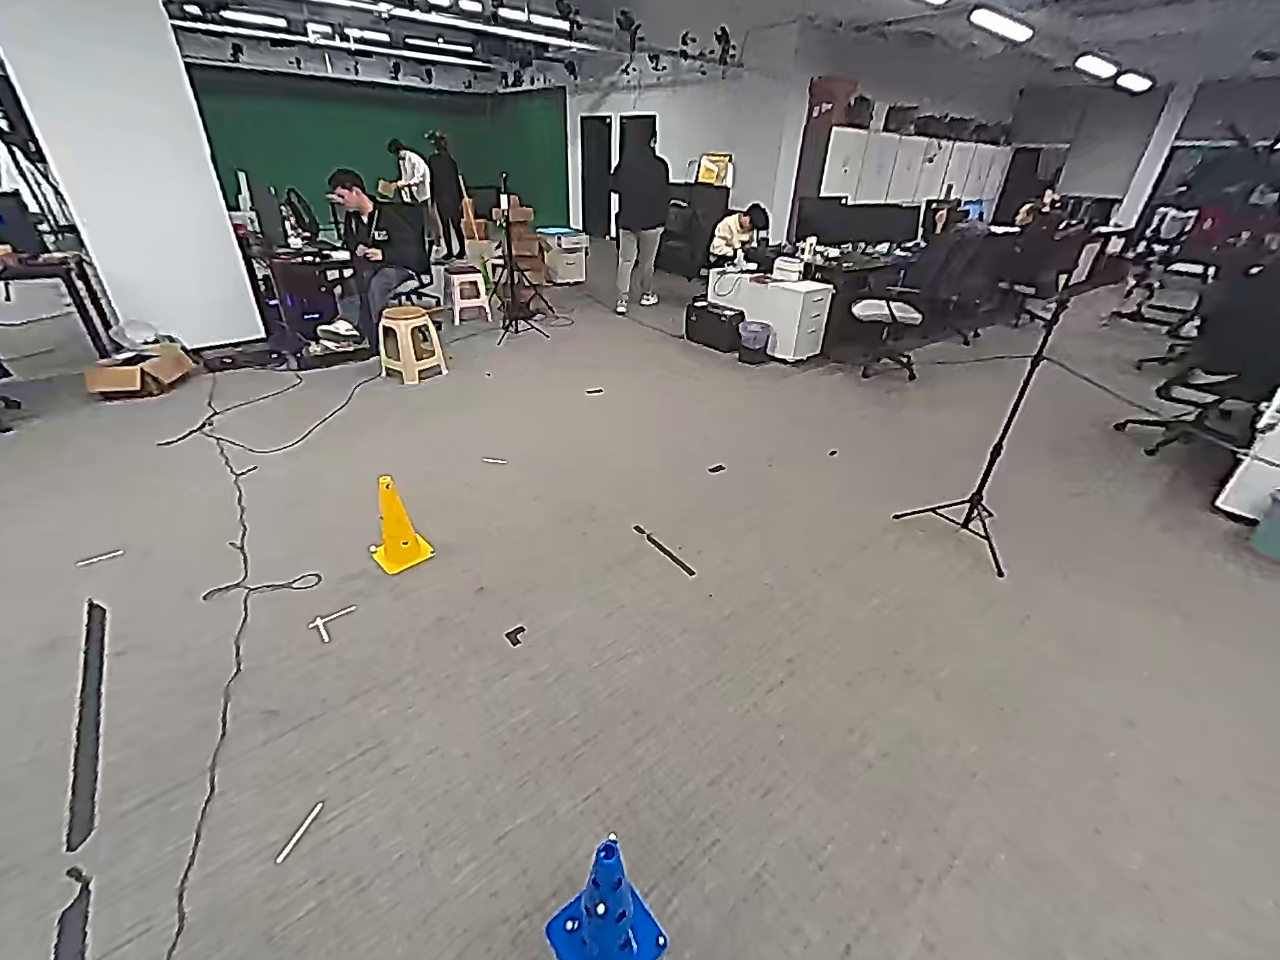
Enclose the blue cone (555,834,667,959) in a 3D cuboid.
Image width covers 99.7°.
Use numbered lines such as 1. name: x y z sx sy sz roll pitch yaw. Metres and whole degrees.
1. blue cone: -0.058 0.818 1.062 0.192 0.380 0.193 -19 37 -33
